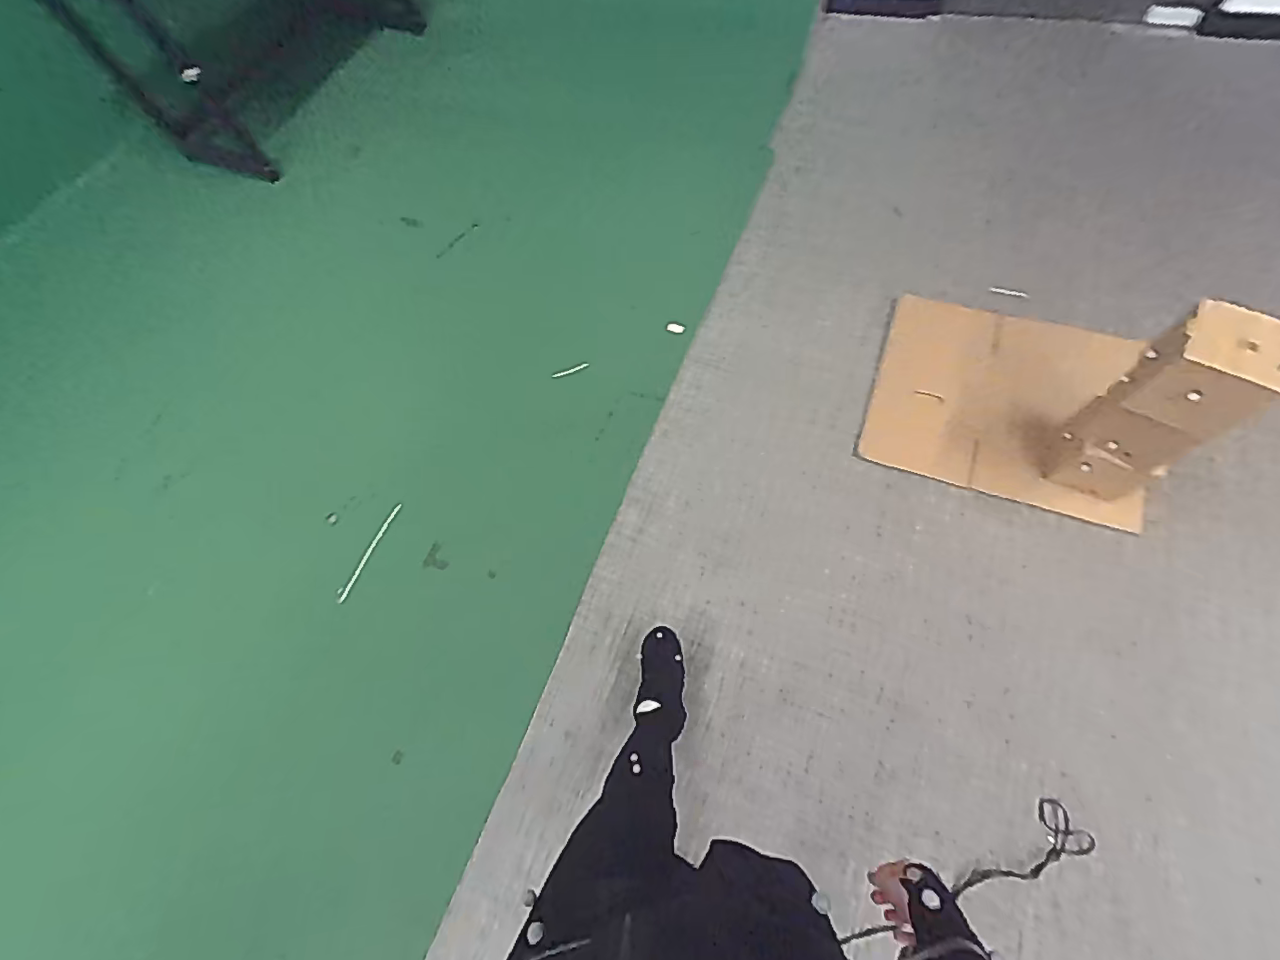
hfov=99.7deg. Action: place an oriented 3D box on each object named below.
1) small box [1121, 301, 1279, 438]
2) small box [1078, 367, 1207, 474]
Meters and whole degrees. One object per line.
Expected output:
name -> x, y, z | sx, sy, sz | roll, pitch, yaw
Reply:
small box -> 1.106, -0.208, 1.057 | 0.179, 0.176, 0.168 | 30, 72, 19
small box -> 1.138, -0.148, 1.206 | 0.168, 0.176, 0.179 | 38, 75, 20
